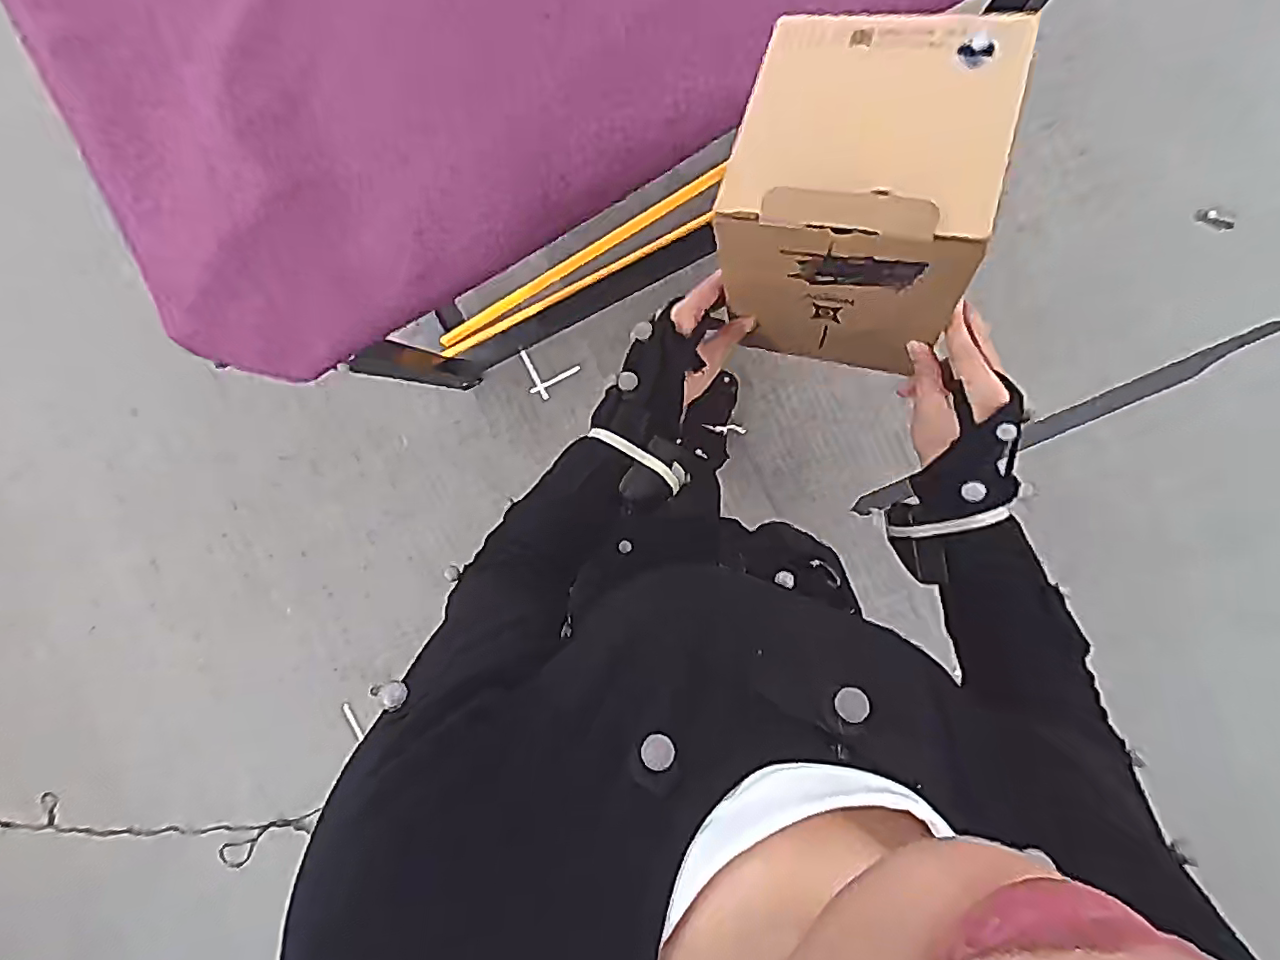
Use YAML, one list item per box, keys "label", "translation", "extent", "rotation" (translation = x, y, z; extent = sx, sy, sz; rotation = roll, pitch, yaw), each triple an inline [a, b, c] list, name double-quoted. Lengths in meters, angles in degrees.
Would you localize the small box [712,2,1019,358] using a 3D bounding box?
- label: "small box"
  translation: [0.164, -0.221, 0.418]
  extent: [0.168, 0.179, 0.176]
  rotation: [15, 80, 18]
